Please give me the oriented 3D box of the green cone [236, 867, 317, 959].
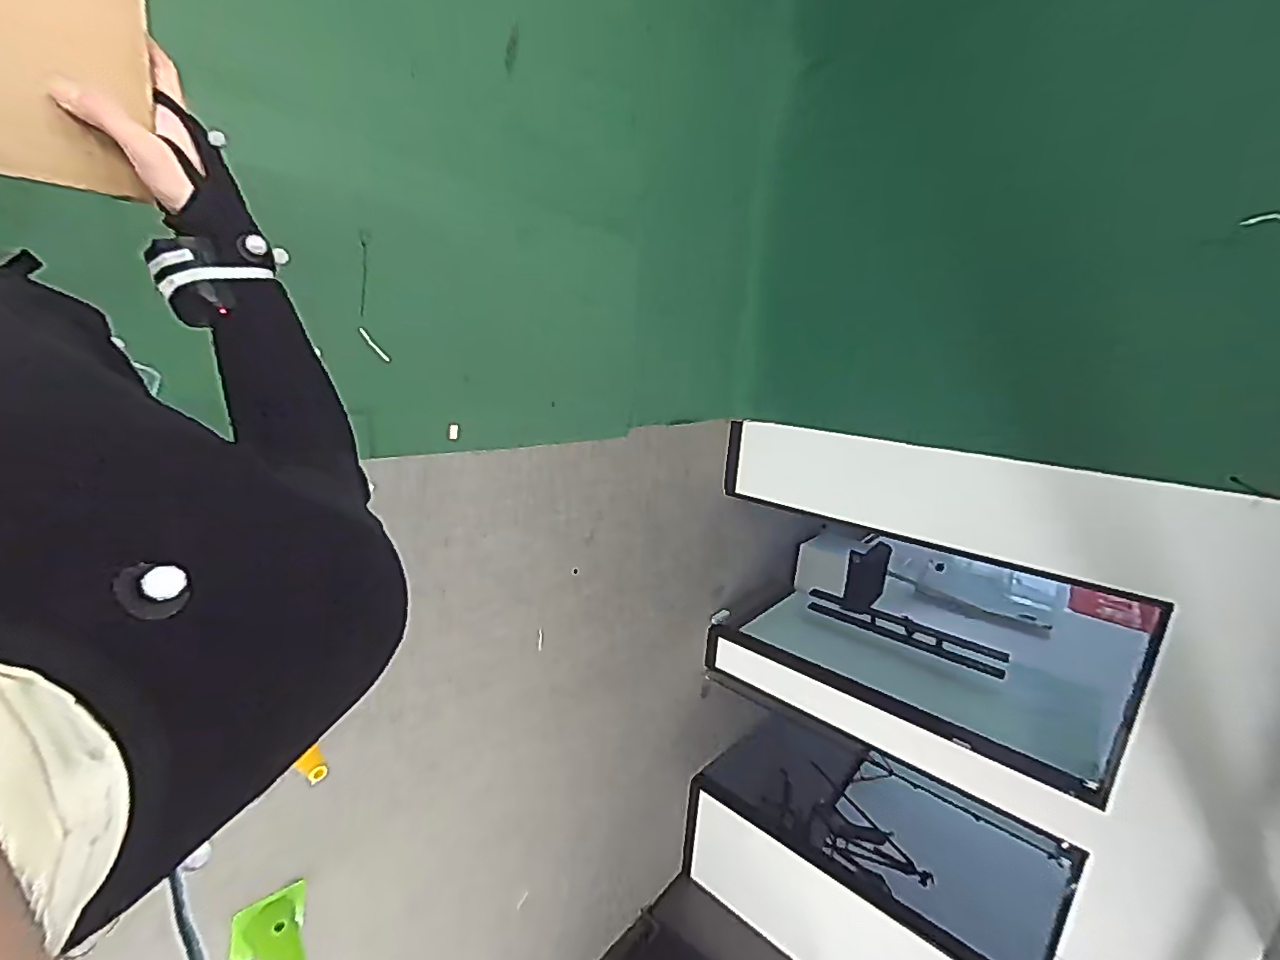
[{"bbox_3d":[-1.054,1.420,1.643,0.200,0.368,0.202,-3,104,-51],"label":"green cone"}]
